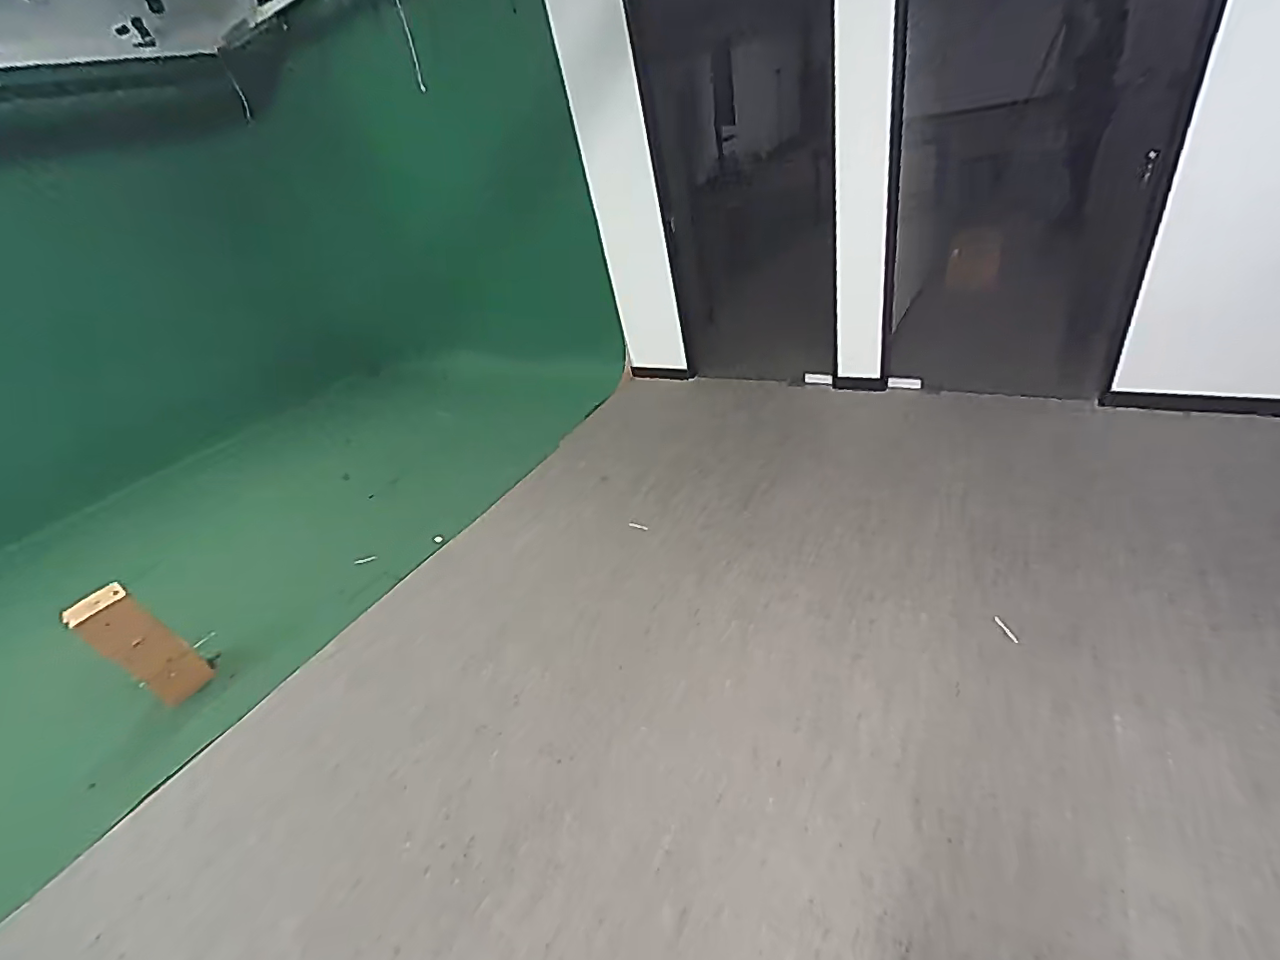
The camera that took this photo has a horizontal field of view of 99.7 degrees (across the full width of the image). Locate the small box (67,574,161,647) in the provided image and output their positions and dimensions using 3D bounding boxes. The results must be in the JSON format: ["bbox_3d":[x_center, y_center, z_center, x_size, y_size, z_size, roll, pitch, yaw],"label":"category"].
[{"bbox_3d":[-1.955,0.487,2.014,0.168,0.176,0.179,13,44,35],"label":"small box"}]

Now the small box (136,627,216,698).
[{"bbox_3d":[-1.882,0.744,2.204,0.168,0.176,0.179,15,44,35],"label":"small box"}]
